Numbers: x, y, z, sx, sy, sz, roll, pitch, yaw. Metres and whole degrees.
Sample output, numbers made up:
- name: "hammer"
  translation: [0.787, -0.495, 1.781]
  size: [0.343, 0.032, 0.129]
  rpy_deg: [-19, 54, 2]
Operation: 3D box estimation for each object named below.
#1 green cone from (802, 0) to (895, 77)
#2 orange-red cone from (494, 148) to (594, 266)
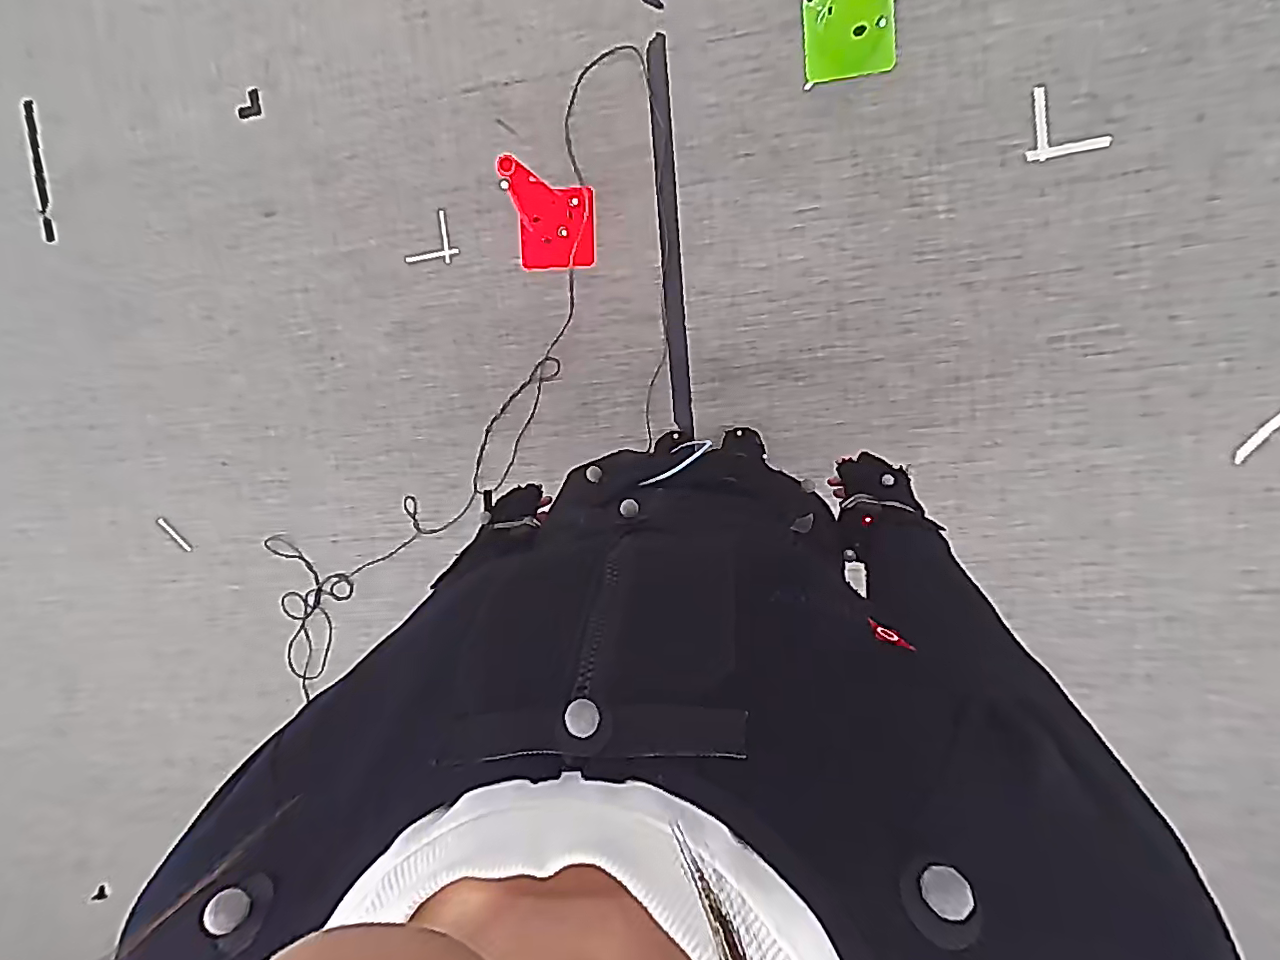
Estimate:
- name: "green cone"
  translation: [0.459, -1.026, 1.076]
  size: [0.202, 0.368, 0.200]
  rpy_deg: [-4, 96, 7]
- name: "orange-red cone"
  translation: [-0.242, -0.640, 1.223]
  size: [0.199, 0.360, 0.198]
  rpy_deg: [1, 95, 9]
